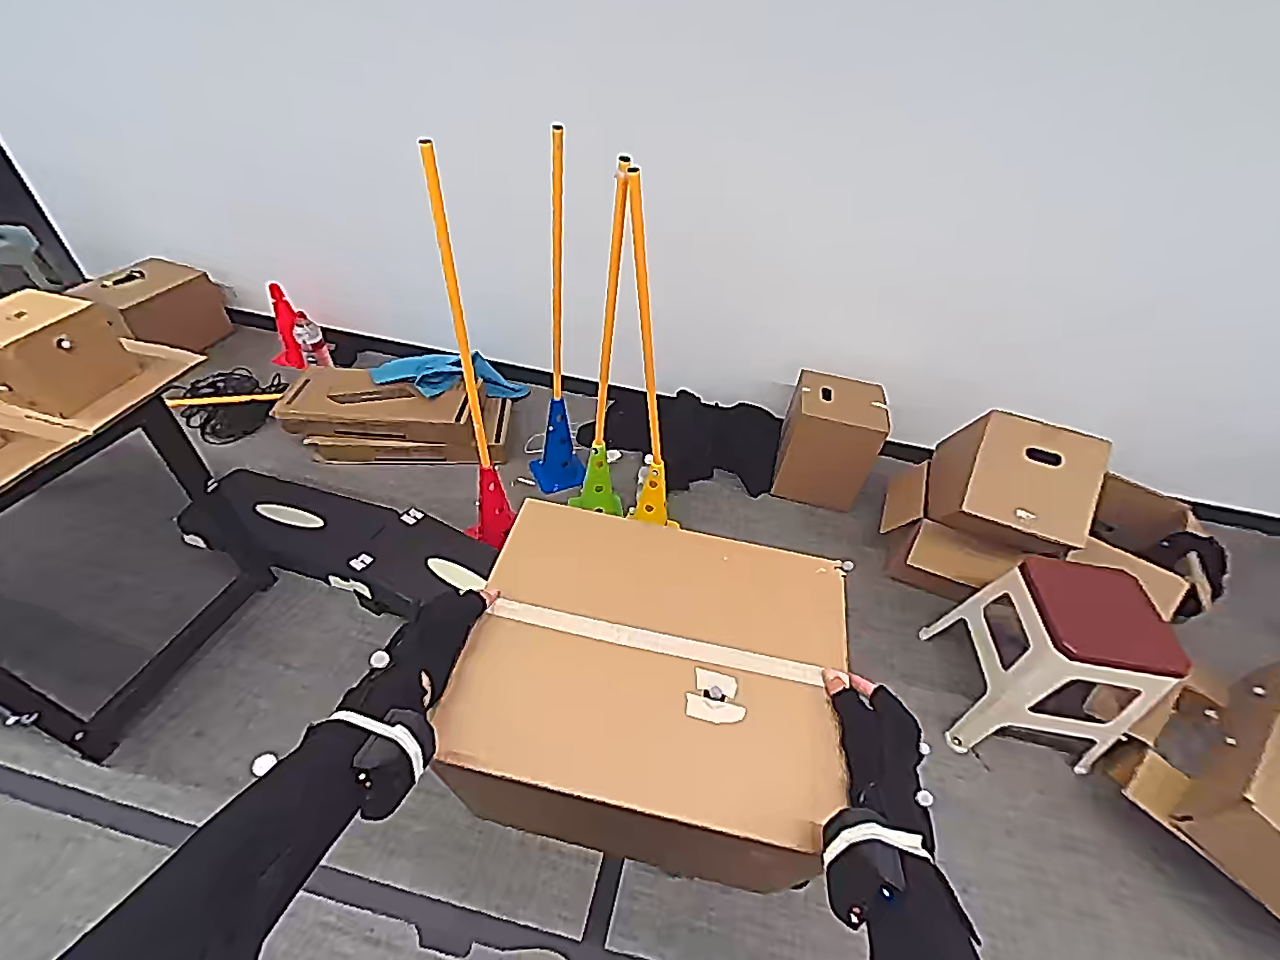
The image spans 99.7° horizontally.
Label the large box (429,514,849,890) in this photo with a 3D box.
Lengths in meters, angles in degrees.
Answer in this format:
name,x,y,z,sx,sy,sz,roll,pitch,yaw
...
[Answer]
name,x,y,z,sx,sy,sz,roll,pitch,yaw
large box,0.008,0.287,0.703,0.408,0.320,0.320,11,49,4
